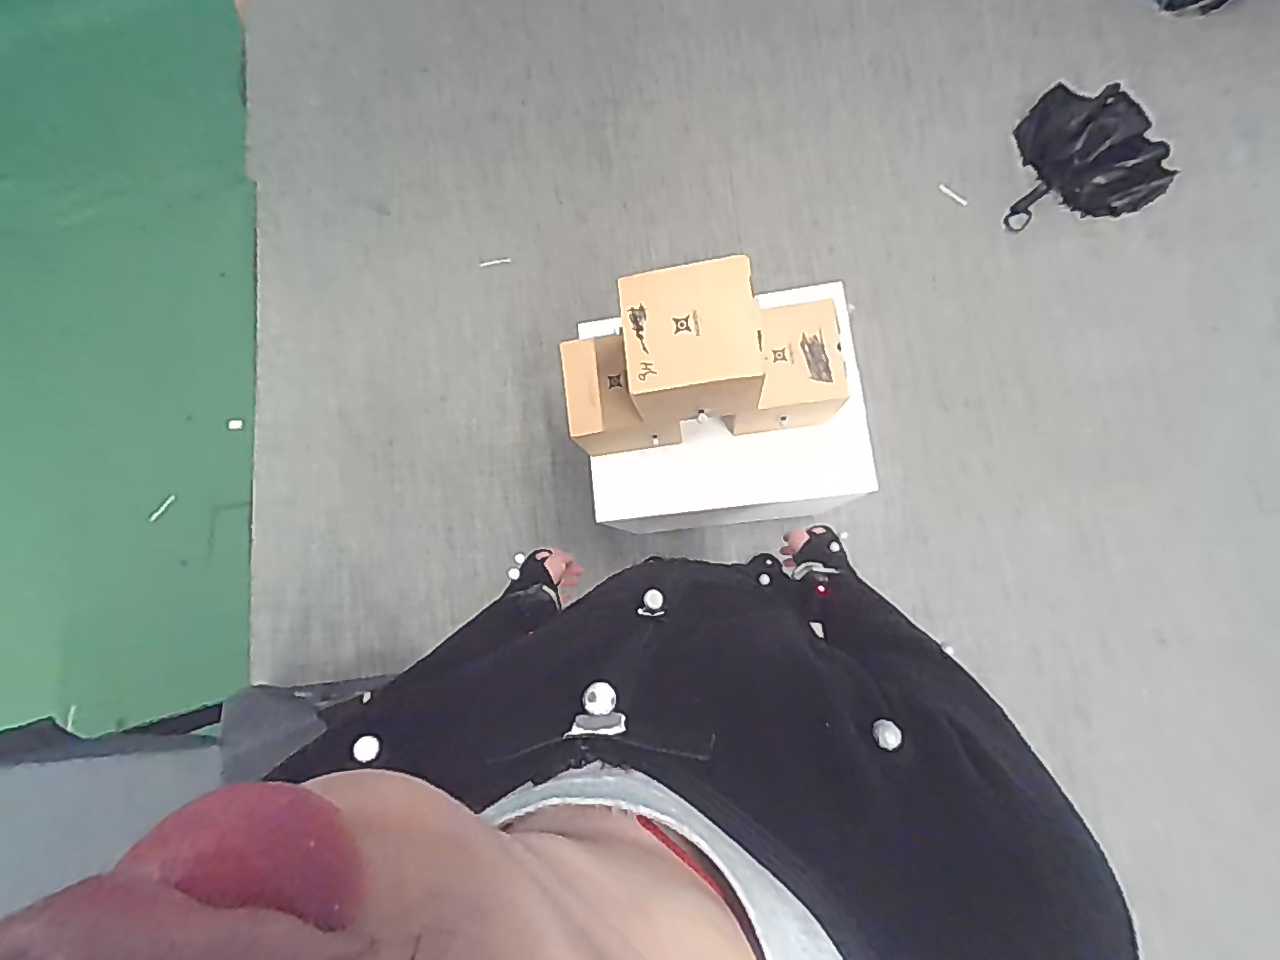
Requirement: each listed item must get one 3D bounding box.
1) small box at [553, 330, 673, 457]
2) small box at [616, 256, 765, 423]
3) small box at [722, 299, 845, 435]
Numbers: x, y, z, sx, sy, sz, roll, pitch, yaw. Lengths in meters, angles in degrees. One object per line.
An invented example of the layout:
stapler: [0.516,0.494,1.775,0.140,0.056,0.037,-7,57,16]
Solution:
small box: [-0.039,-0.145,0.933,0.179,0.176,0.168,-9,80,5]
small box: [0.069,-0.186,0.762,0.179,0.176,0.168,-7,81,5]
small box: [0.224,-0.180,0.909,0.179,0.176,0.168,-7,81,6]
